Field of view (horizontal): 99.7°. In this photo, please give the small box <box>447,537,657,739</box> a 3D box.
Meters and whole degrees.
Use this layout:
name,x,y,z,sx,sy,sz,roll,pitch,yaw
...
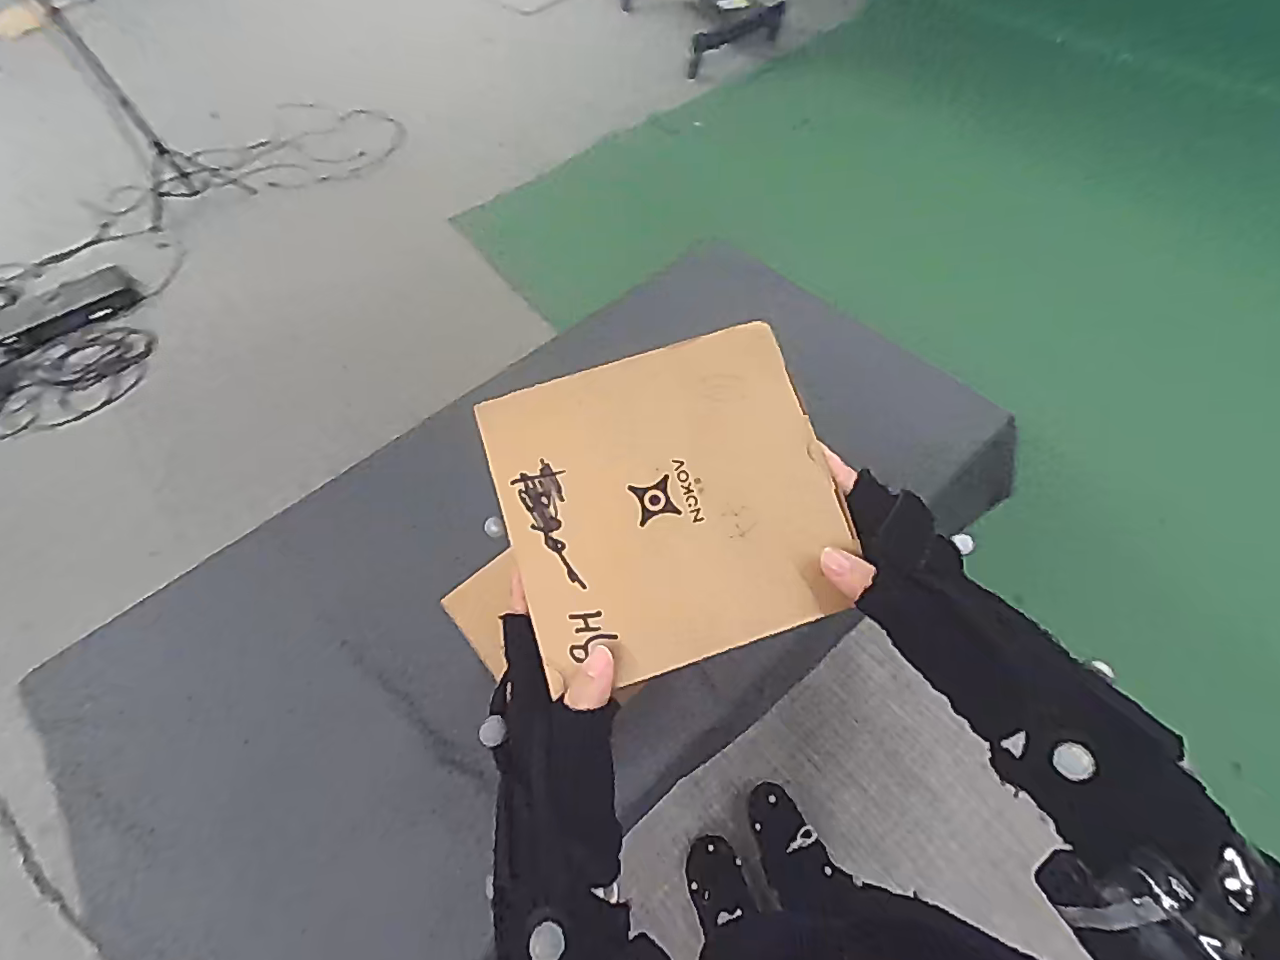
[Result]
name,x,y,z,sx,sy,sz,roll,pitch,yaw
small box,-0.071,0.154,0.595,0.179,0.176,0.168,-40,63,-16

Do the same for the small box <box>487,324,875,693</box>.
name,x,y,z,sx,sy,sz,roll,pitch,yaw
small box,0.017,0.025,0.368,0.179,0.176,0.168,-17,77,-5
